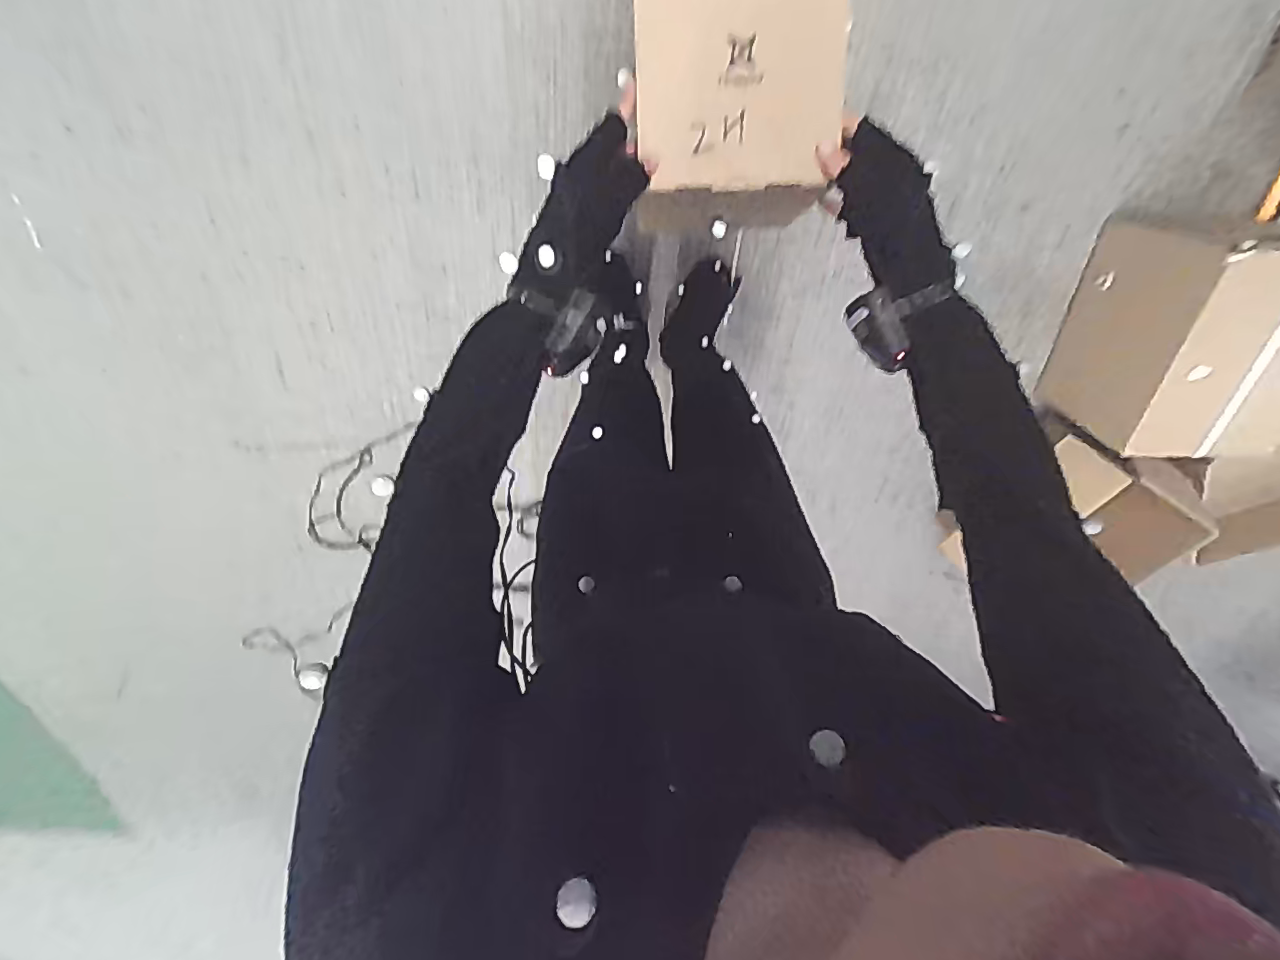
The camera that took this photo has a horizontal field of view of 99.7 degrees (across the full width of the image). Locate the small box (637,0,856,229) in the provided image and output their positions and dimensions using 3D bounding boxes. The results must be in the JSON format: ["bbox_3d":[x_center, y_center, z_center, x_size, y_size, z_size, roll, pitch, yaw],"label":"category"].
[{"bbox_3d":[0.081,-0.342,0.492,0.168,0.176,0.179,-1,104,1],"label":"small box"}]
